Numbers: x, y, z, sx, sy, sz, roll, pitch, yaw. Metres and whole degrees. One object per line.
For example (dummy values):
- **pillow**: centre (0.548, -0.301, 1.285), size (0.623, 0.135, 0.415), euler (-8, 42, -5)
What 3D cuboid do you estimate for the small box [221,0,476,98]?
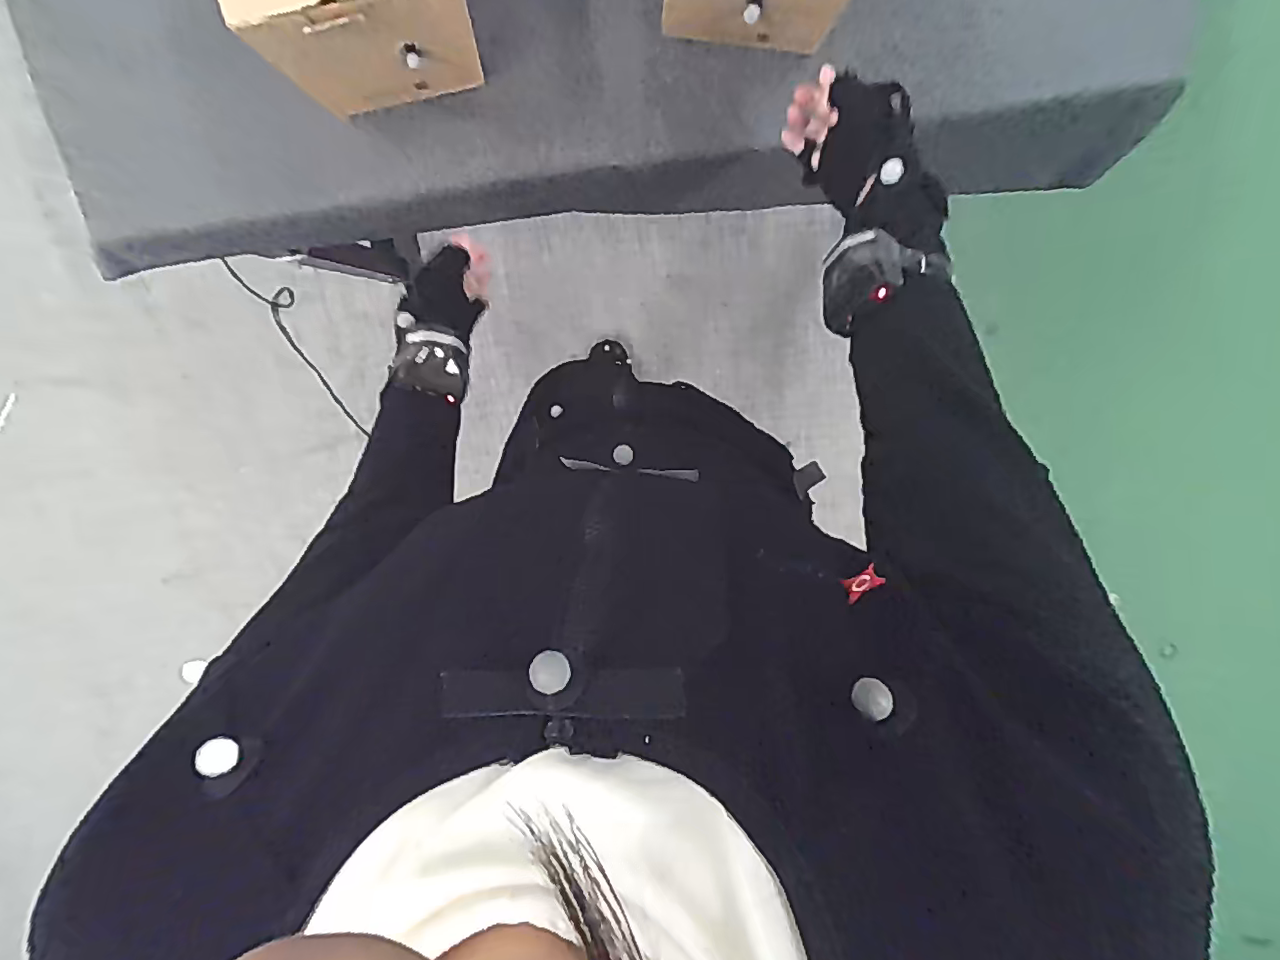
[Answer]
- **small box**: centre (-0.262, -0.475, 0.479), size (0.168, 0.176, 0.179), euler (-12, 102, 1)

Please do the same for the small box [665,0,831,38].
- **small box**: centre (0.109, -0.529, 0.470), size (0.168, 0.176, 0.179), euler (4, 106, -2)
